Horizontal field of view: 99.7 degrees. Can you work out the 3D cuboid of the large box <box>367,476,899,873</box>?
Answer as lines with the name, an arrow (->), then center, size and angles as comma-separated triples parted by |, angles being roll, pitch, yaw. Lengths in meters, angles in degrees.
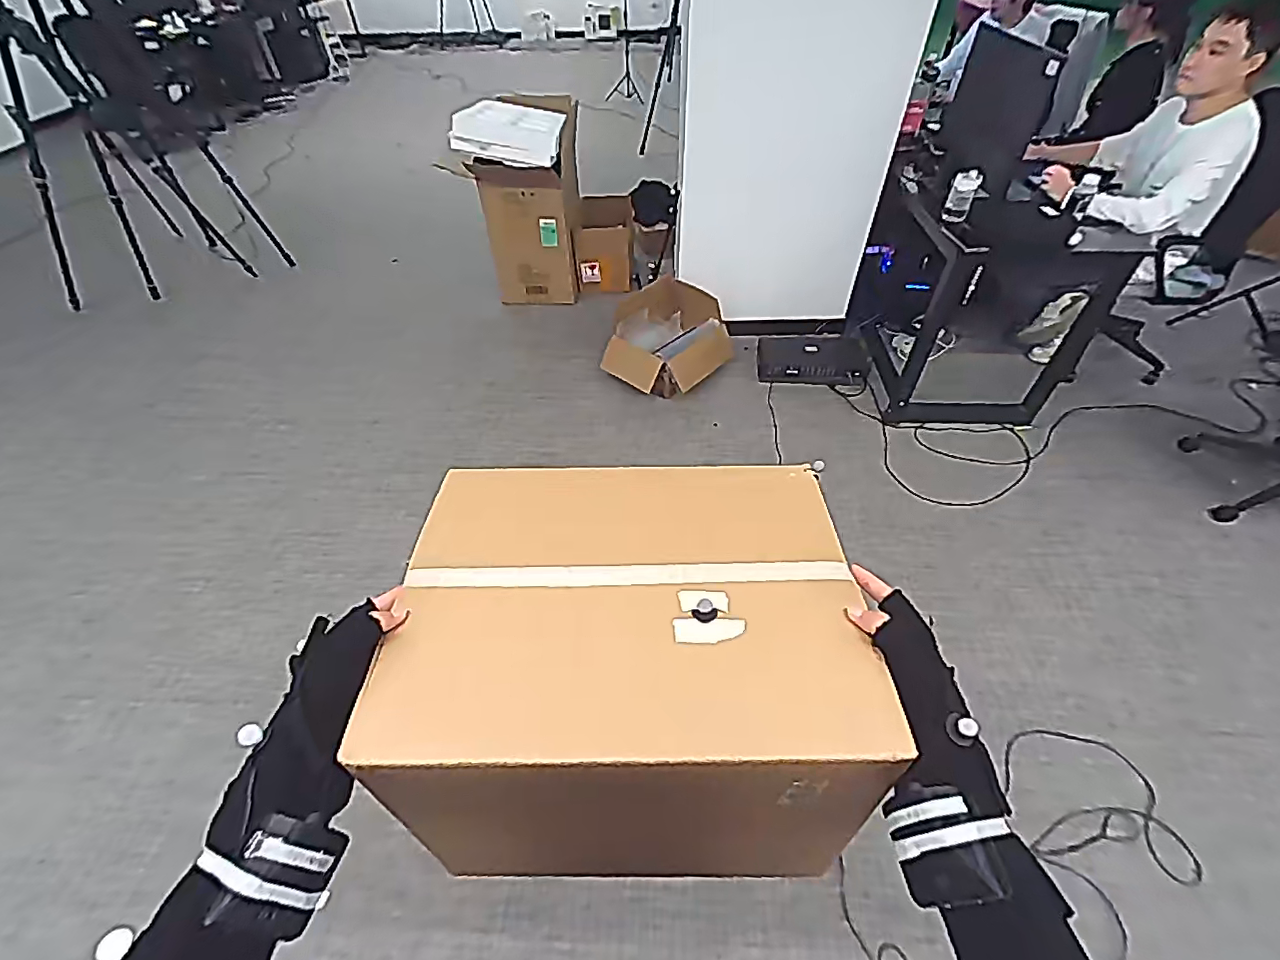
large box -> -0.005, 0.211, 0.604 | 0.408, 0.320, 0.320 | 0, 42, 1
